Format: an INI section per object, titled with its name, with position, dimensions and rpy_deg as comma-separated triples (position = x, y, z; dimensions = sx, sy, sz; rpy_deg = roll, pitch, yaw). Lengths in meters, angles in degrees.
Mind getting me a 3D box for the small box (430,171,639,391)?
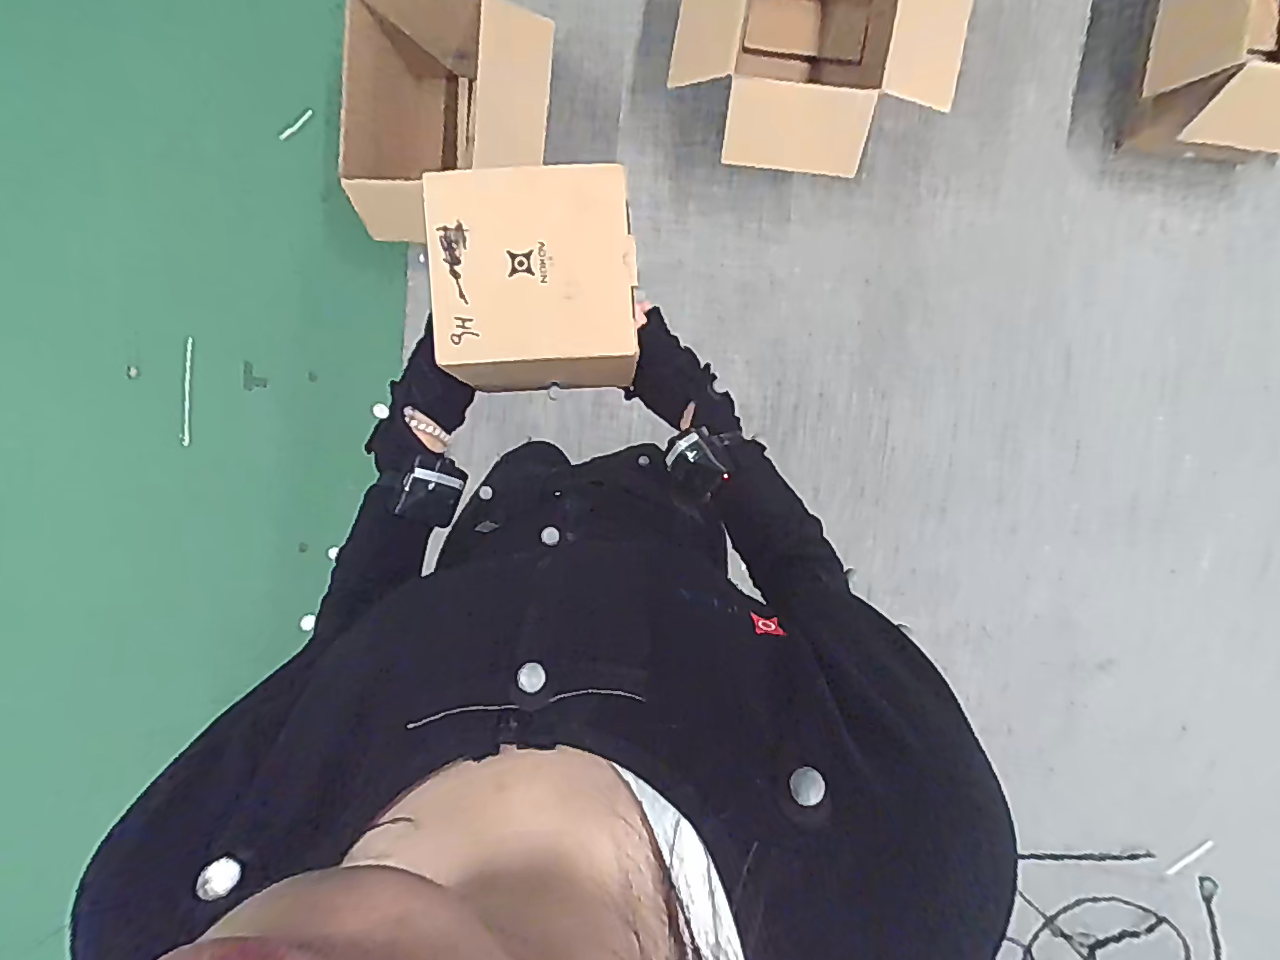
[small box]
position = -0.097, -0.186, 0.550
dimensions = 0.179, 0.176, 0.168
rpy_deg = -3, 90, -4
